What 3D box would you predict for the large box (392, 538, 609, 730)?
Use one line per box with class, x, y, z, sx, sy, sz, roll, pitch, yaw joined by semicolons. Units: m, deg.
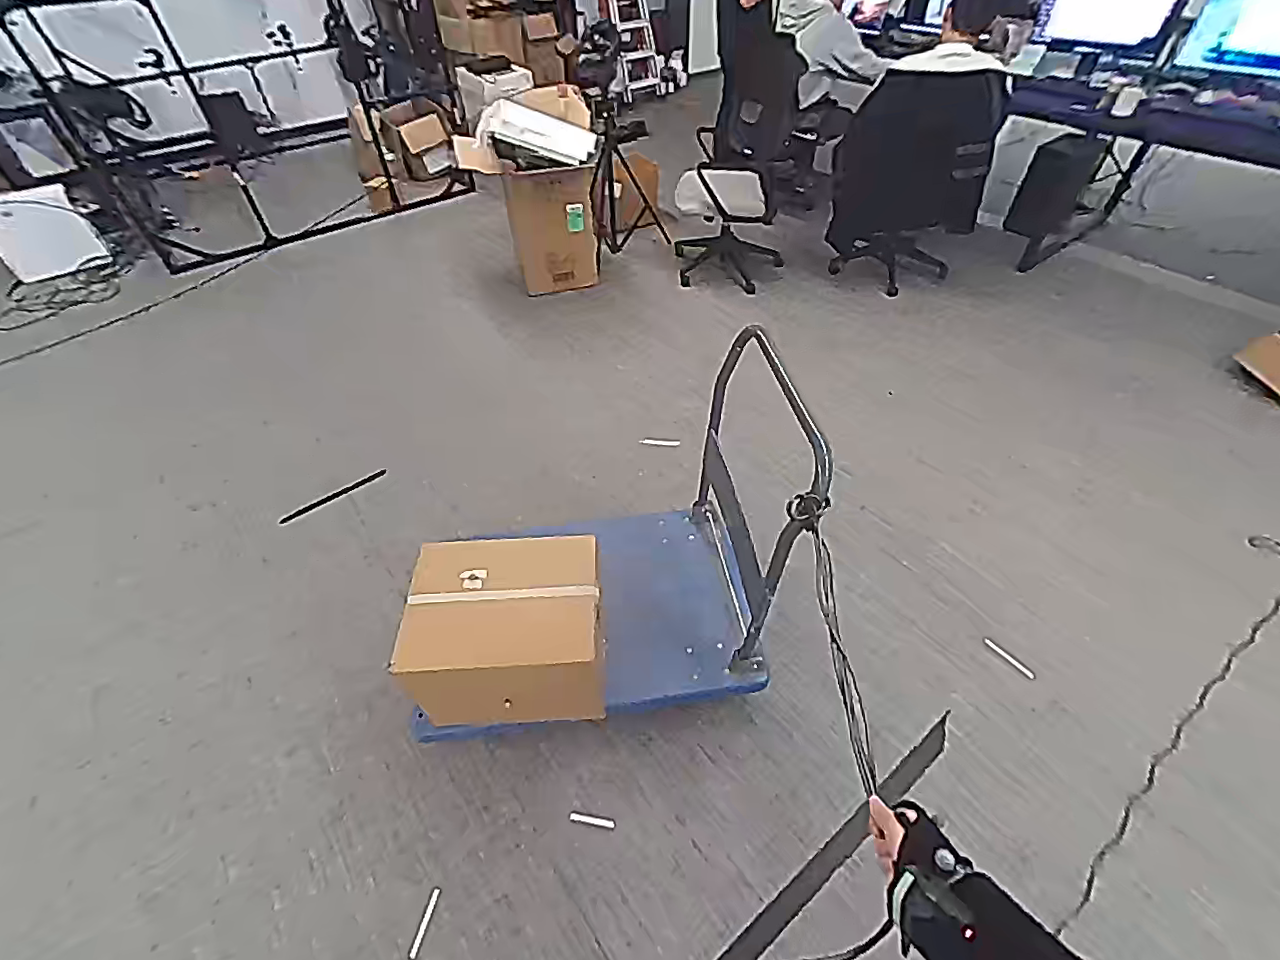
large box;-0.286;0.361;1.255;0.408;0.320;0.320;-4;46;0
